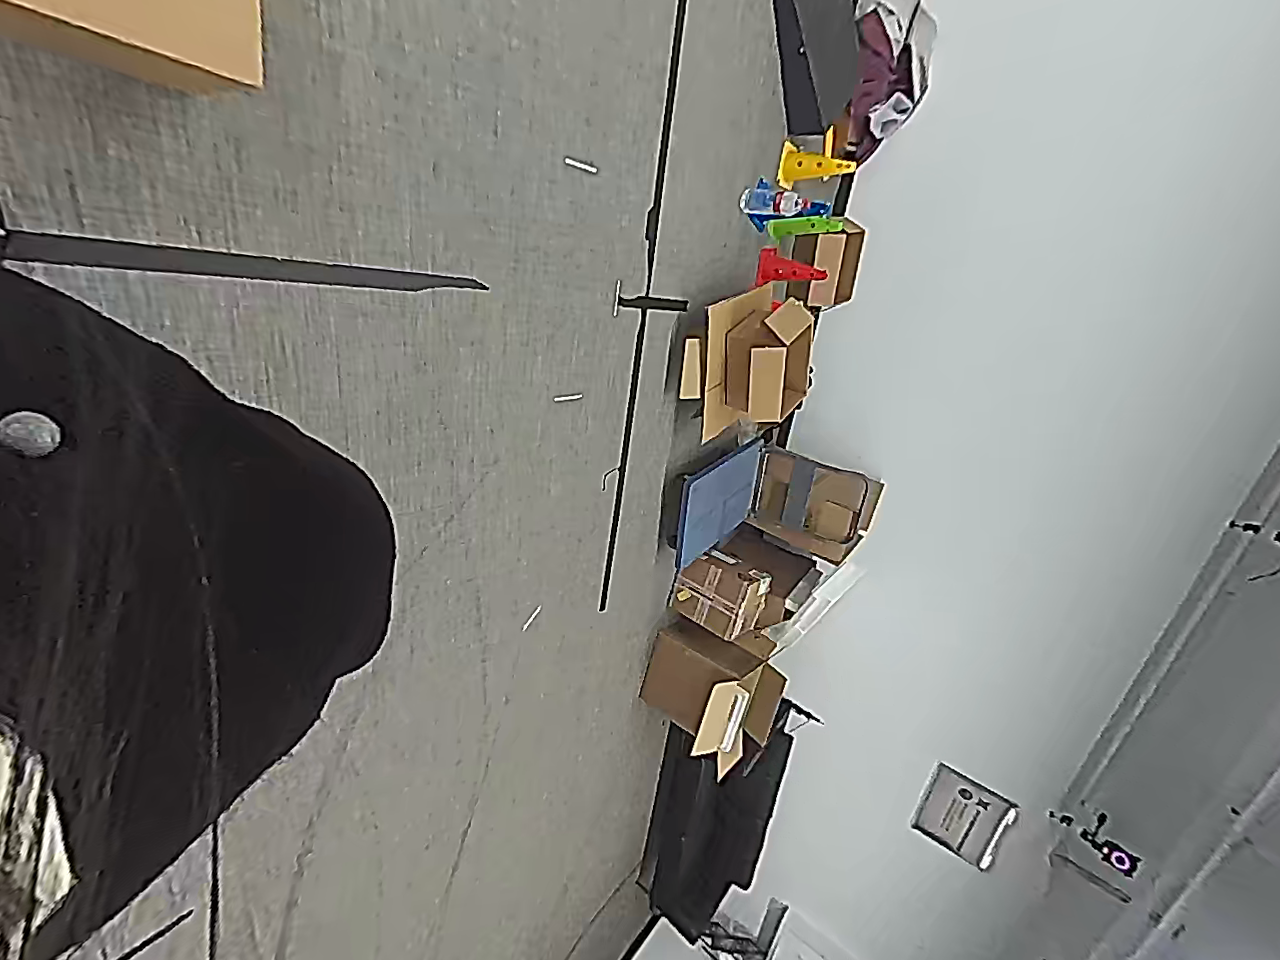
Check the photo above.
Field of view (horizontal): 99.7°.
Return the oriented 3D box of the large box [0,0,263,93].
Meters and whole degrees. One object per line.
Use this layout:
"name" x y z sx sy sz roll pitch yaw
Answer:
"large box" -0.829 -0.796 0.754 0.408 0.320 0.320 -17 123 -52
